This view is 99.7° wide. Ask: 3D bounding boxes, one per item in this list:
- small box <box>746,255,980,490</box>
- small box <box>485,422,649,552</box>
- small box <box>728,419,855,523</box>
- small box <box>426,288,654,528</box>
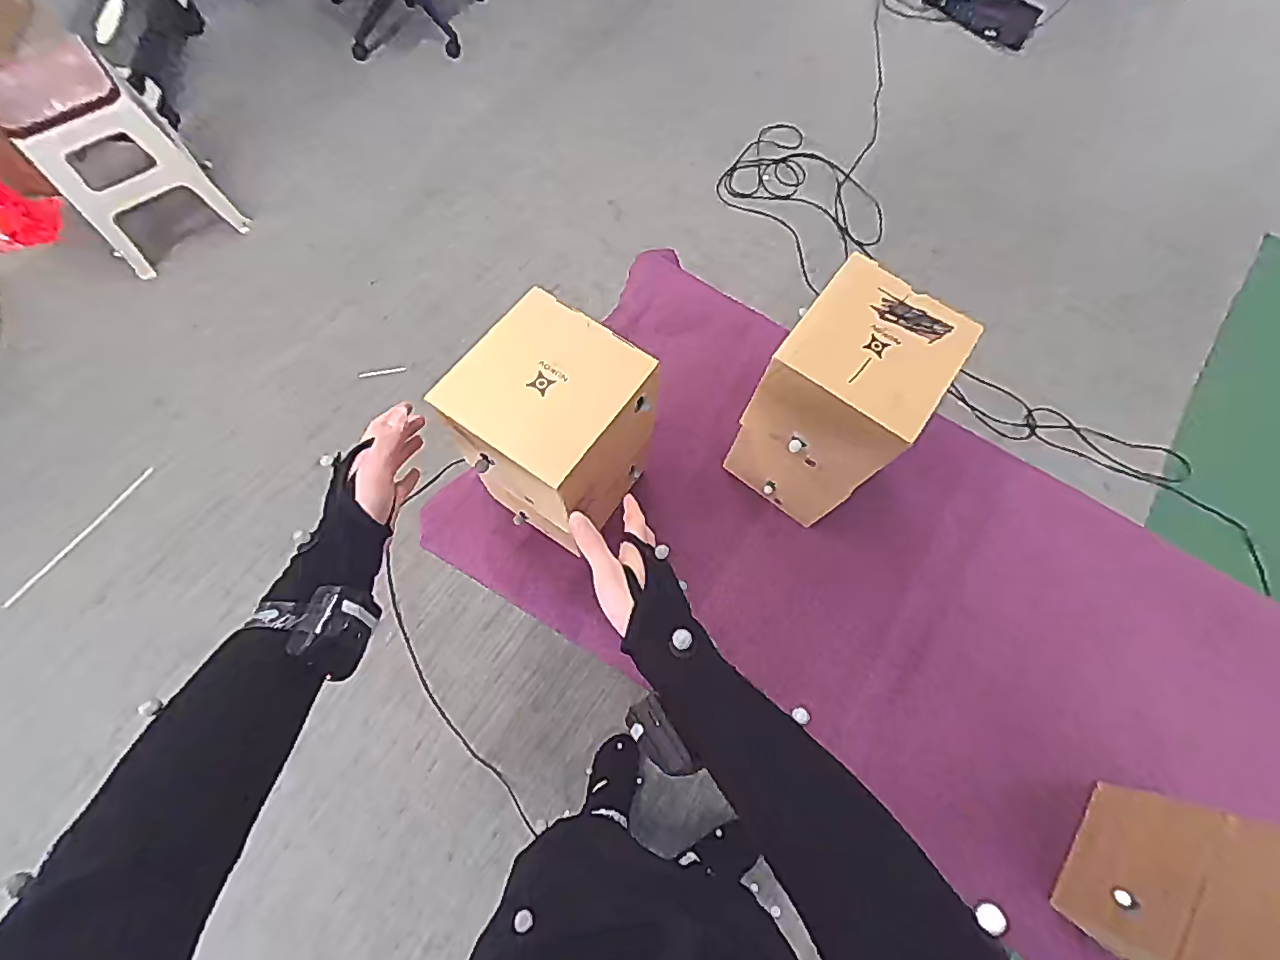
[{"bbox_3d":[0.248,-0.118,0.644,0.168,0.176,0.179,36,74,10],"label":"small box"},{"bbox_3d":[-0.106,-0.023,0.770,0.168,0.176,0.179,33,72,9],"label":"small box"},{"bbox_3d":[0.250,-0.064,0.799,0.168,0.176,0.179,38,74,11],"label":"small box"},{"bbox_3d":[-0.099,-0.071,0.615,0.168,0.176,0.179,33,71,10],"label":"small box"}]
